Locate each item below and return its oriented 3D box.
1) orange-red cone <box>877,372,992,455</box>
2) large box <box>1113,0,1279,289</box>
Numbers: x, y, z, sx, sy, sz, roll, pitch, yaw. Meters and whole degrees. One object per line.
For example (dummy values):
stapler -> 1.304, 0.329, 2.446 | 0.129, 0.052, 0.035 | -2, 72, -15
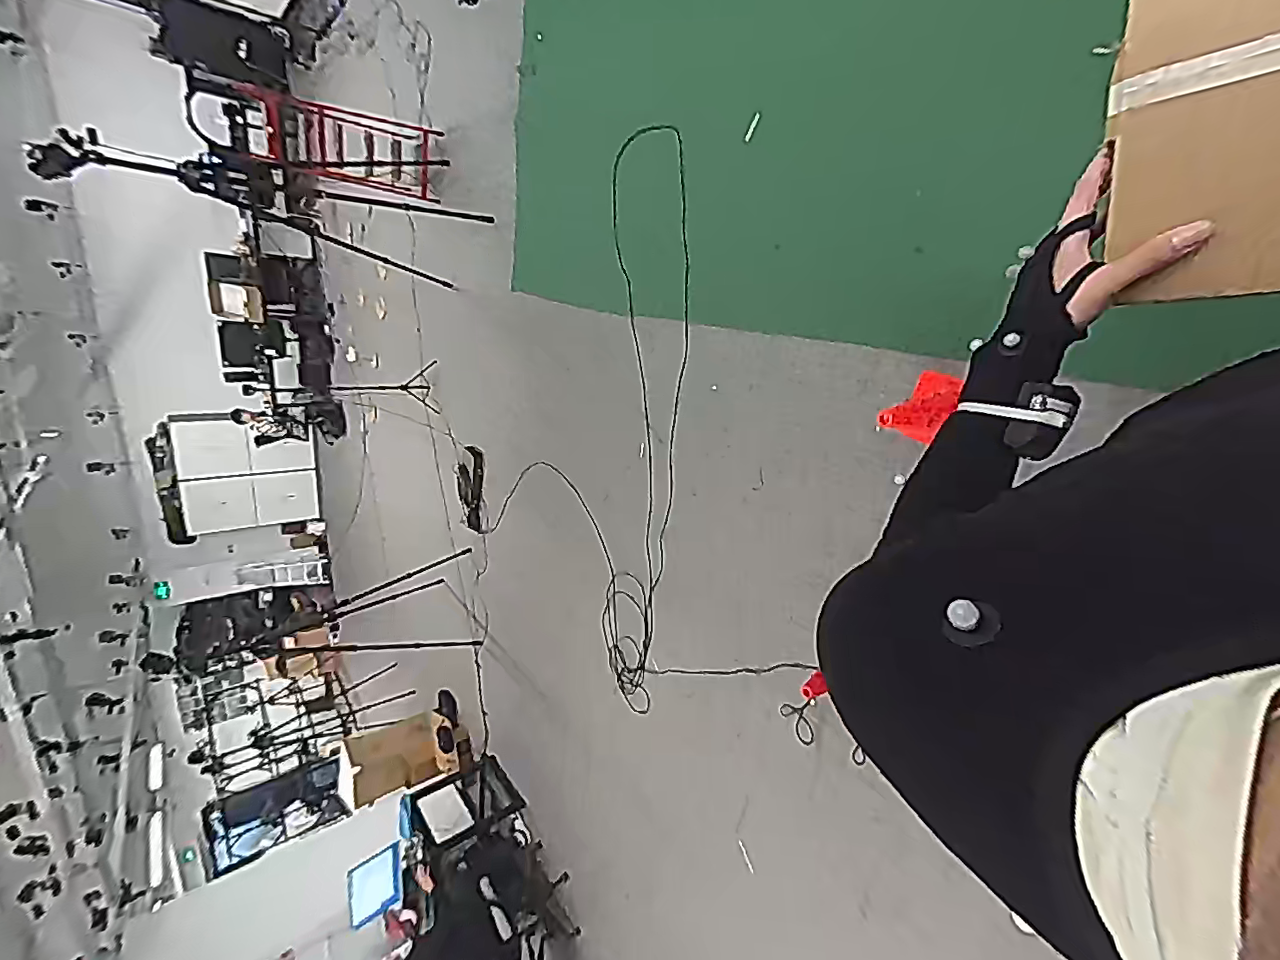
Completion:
orange-red cone -> 0.731, -0.174, 1.431 | 0.199, 0.360, 0.198 | 36, 122, 43
large box -> 0.618, -0.336, 0.379 | 0.408, 0.320, 0.320 | 8, 116, 43
